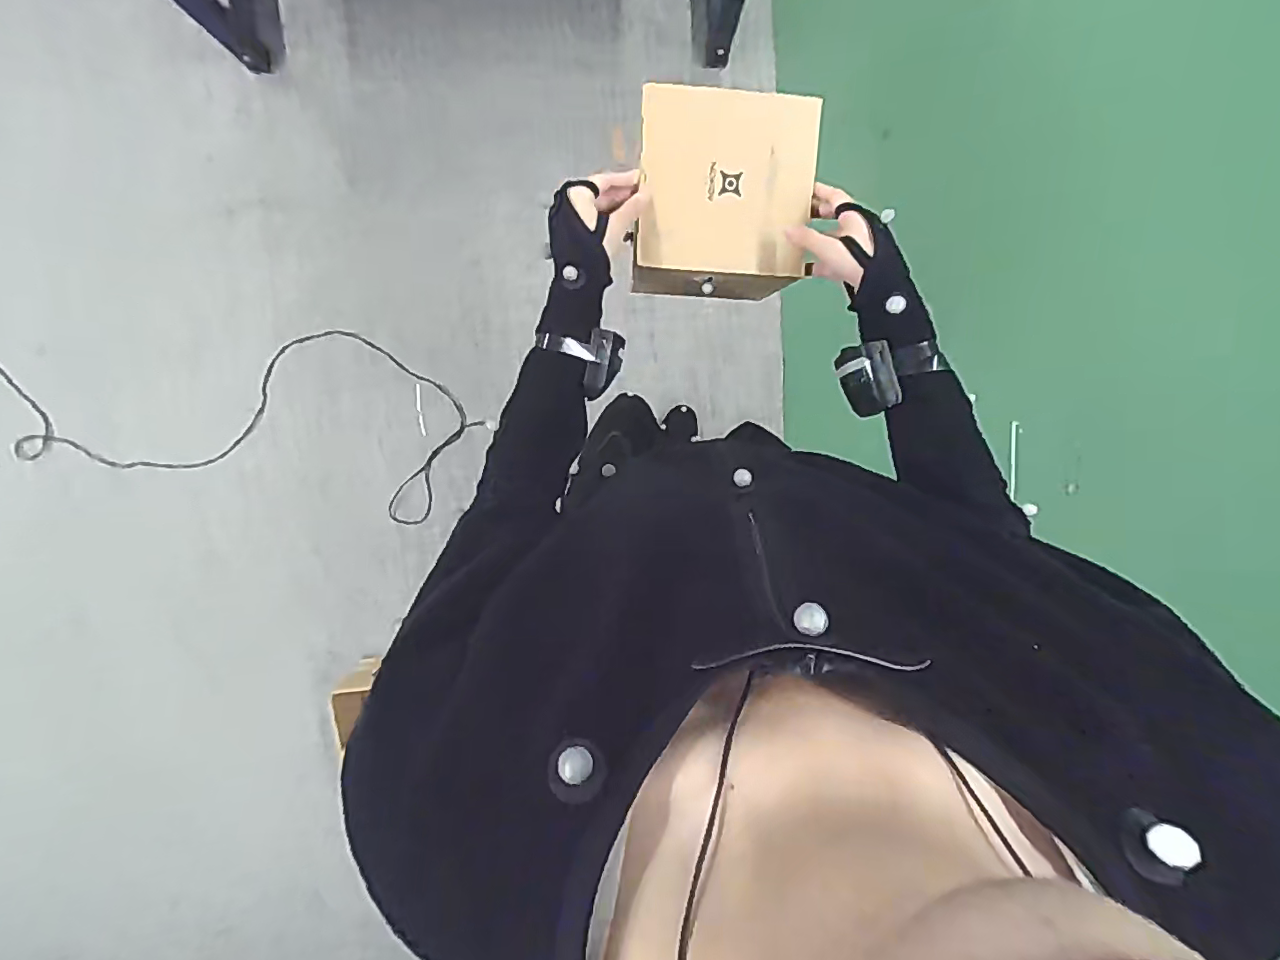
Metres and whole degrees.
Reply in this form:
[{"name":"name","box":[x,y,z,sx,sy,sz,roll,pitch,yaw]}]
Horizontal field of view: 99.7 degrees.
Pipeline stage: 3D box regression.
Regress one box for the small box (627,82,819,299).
[{"name":"small box","box":[0.078,-0.305,0.607,0.179,0.176,0.168,3,100,-4]}]
